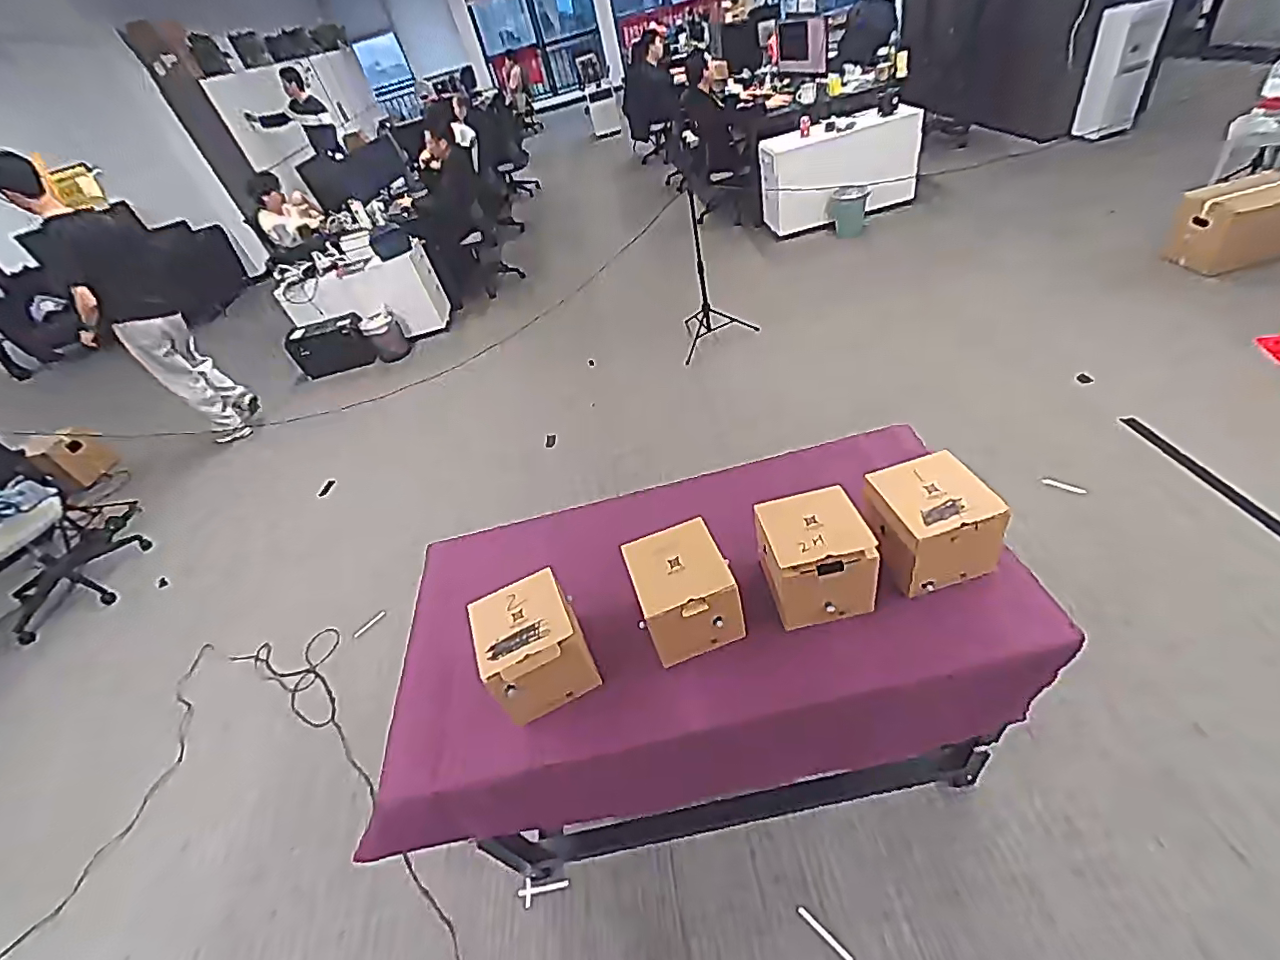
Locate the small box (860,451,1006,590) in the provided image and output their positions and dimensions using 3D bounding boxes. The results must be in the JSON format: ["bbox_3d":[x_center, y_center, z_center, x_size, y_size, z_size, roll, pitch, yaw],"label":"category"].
[{"bbox_3d":[0.527,0.081,0.999,0.168,0.176,0.179,-18,40,-1],"label":"small box"}]

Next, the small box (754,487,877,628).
[{"bbox_3d":[0.316,0.144,1.000,0.168,0.176,0.179,-14,42,4],"label":"small box"}]

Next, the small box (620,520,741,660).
[{"bbox_3d":[0.078,0.211,1.010,0.168,0.176,0.179,-20,41,-4],"label":"small box"}]
